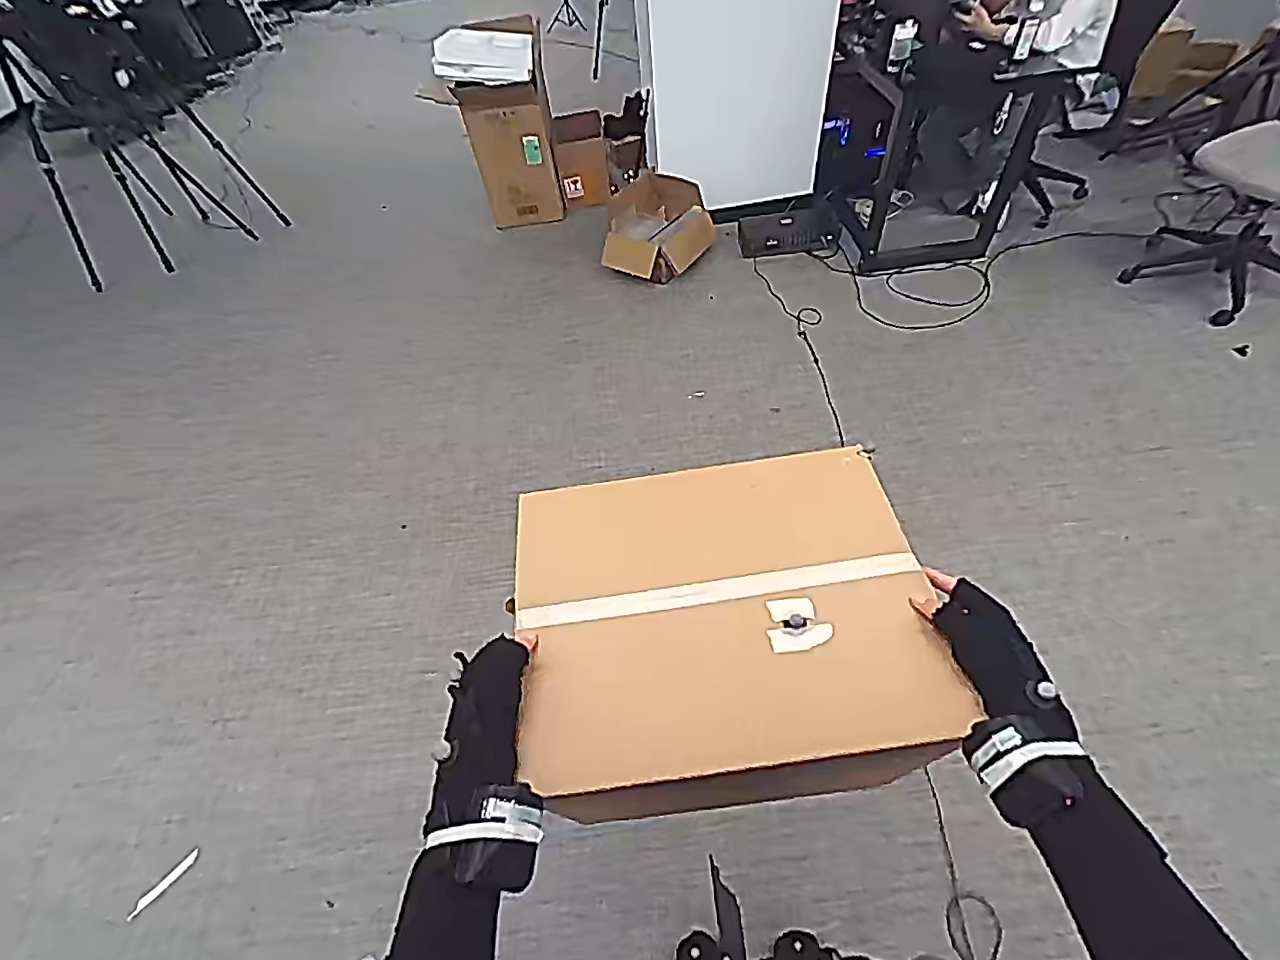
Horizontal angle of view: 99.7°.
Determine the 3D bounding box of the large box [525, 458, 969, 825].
[{"bbox_3d":[0.089,0.212,0.679,0.408,0.320,0.320,-8,54,0],"label":"large box"}]
